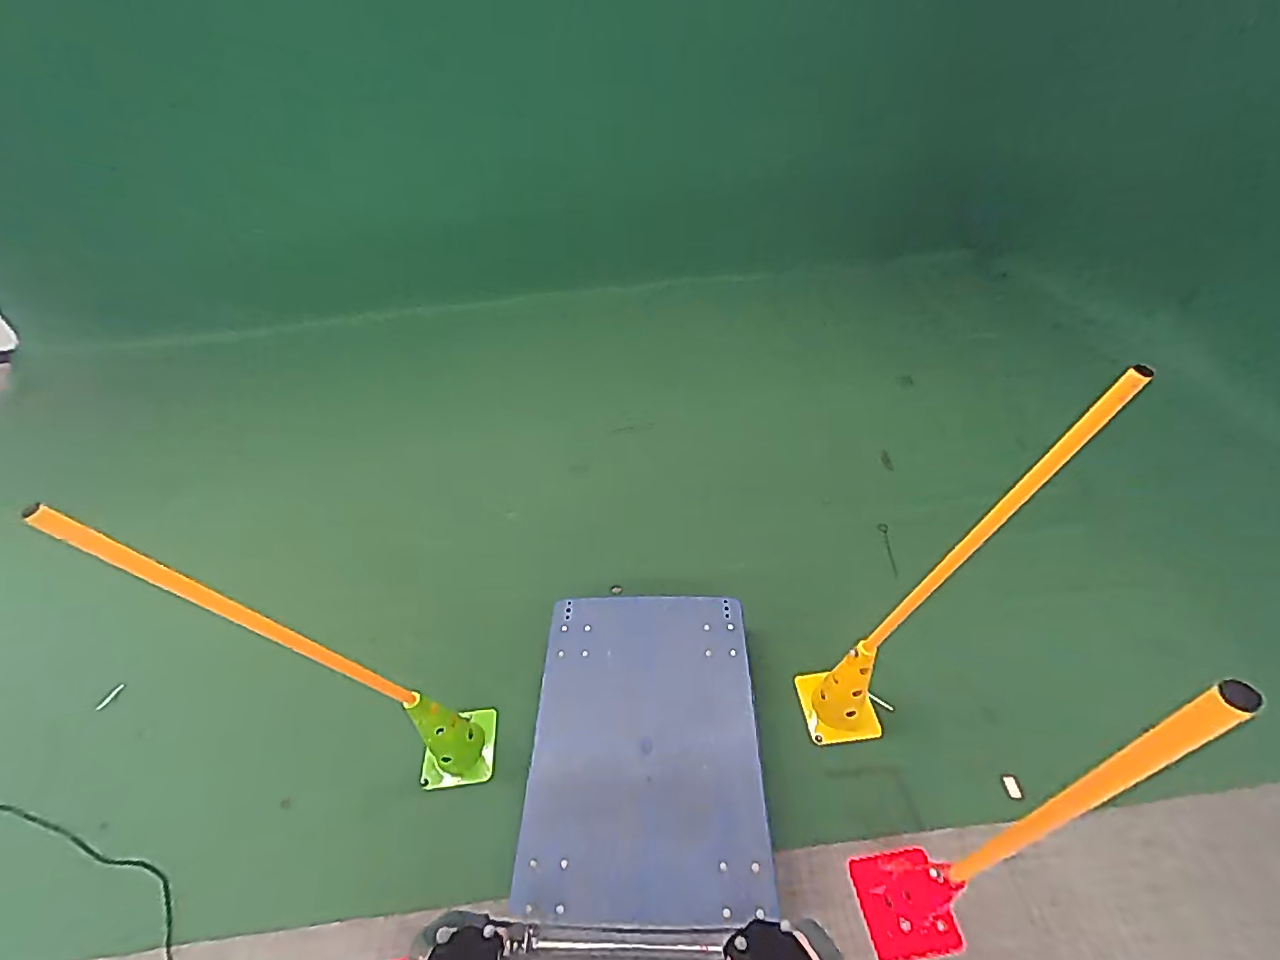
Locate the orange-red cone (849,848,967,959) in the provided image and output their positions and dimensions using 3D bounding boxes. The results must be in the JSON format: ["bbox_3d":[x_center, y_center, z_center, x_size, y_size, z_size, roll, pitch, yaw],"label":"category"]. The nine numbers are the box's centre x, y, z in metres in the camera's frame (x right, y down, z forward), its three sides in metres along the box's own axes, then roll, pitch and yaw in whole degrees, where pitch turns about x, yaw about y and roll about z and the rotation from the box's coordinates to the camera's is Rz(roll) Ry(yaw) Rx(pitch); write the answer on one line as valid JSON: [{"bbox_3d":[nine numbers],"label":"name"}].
[{"bbox_3d":[0.589,0.845,1.116,0.198,0.360,0.199,-6,44,-2],"label":"orange-red cone"}]

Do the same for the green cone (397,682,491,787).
[{"bbox_3d":[-0.543,0.633,1.415,0.200,0.368,0.202,-8,45,-2],"label":"green cone"}]
